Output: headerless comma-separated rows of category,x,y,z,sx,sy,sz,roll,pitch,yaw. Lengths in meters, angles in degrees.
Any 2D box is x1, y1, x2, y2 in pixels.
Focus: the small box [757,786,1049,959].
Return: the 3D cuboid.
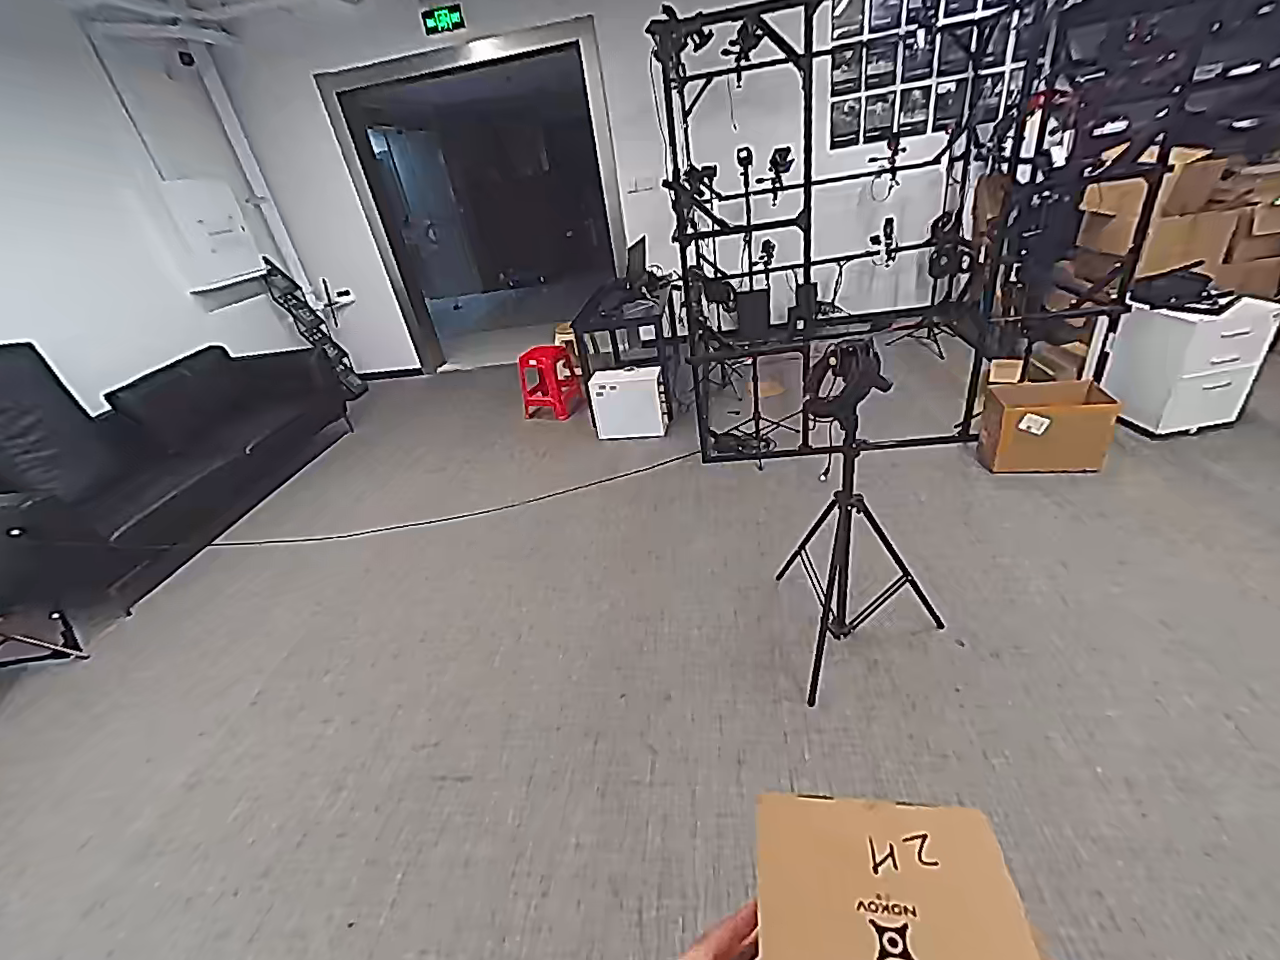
small box,0.166,0.348,0.364,0.168,0.176,0.179,-1,22,12
